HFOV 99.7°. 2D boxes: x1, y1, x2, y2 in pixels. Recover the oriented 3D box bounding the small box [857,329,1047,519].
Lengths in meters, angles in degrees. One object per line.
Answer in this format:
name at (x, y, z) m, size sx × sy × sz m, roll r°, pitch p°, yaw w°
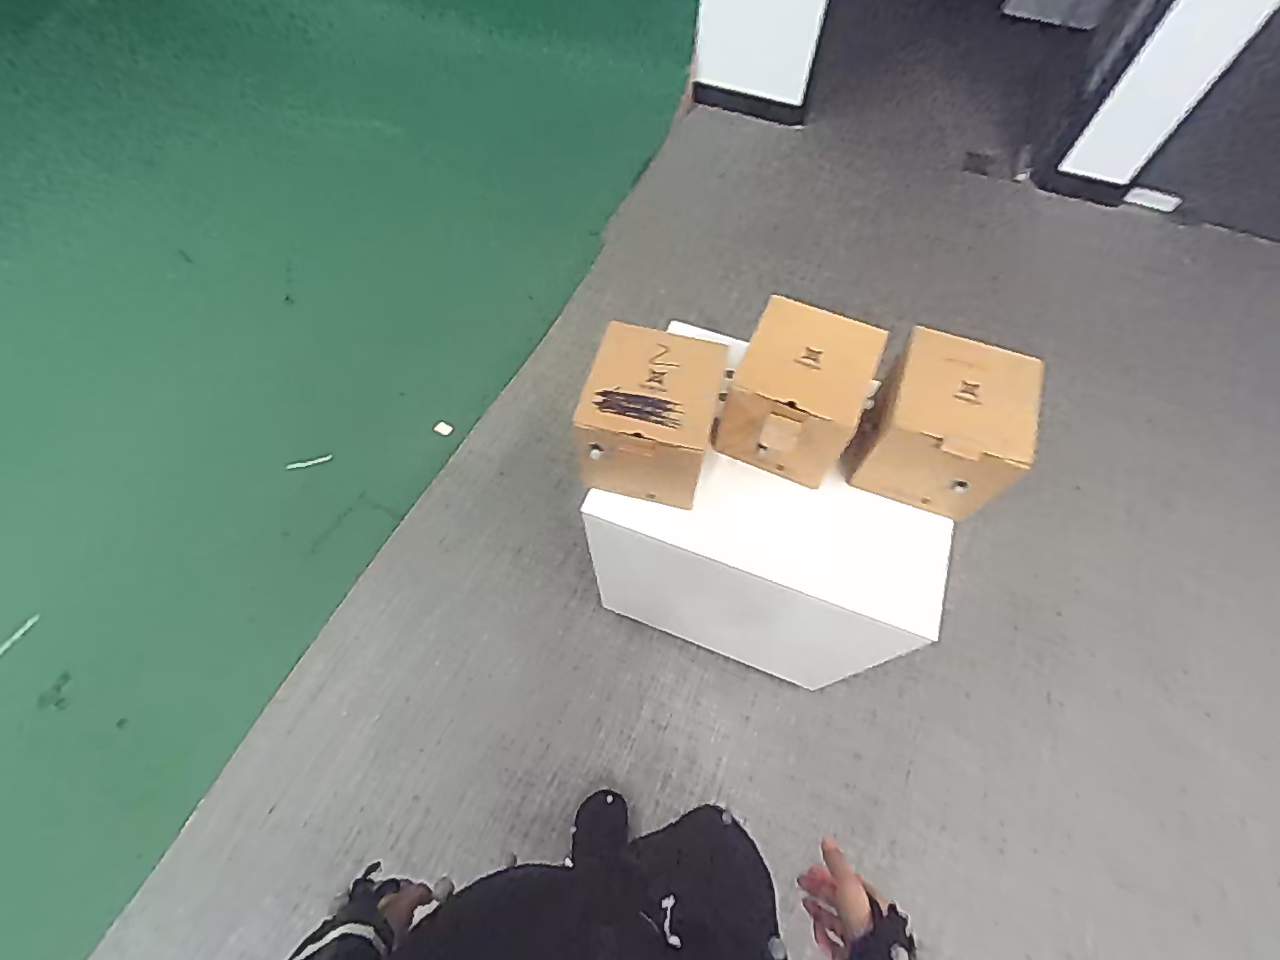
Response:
small box at (0.418, -0.070, 0.748) m, size 0.168 × 0.176 × 0.179 m, roll 19°, pitch 64°, yaw 9°
